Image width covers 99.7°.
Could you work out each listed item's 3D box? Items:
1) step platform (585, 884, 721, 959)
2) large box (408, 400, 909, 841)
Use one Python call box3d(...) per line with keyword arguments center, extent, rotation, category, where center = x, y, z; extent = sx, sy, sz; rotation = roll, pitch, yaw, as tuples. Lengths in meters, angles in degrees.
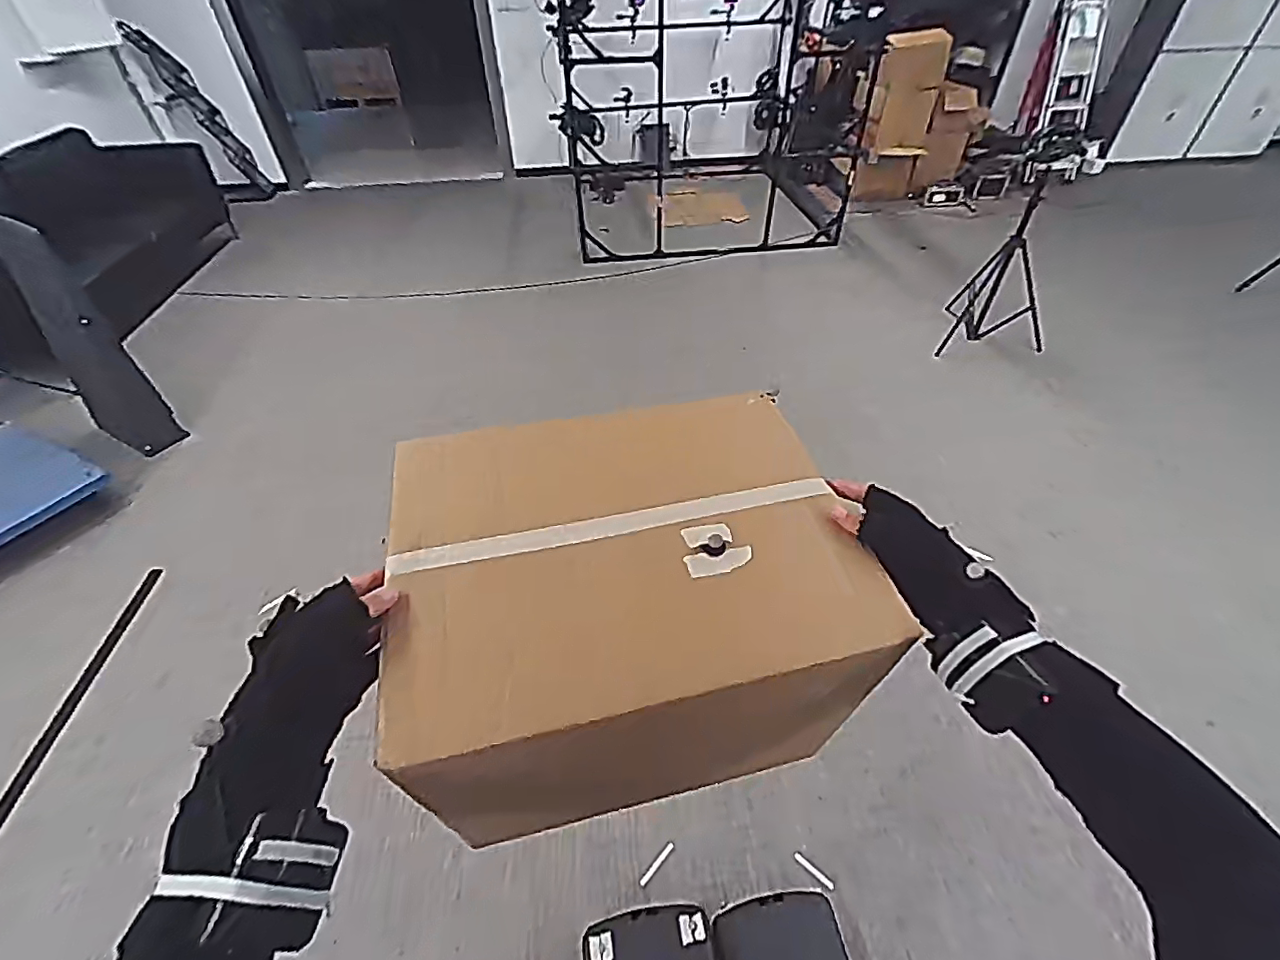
box3d(center=(0.065, 1.200, 1.031), extent=(0.286, 0.204, 0.684), rotation=(-8, 43, -6), category="step platform")
box3d(center=(-0.012, 0.148, 0.608), extent=(0.408, 0.320, 0.320), rotation=(-9, 49, -11), category="large box")
